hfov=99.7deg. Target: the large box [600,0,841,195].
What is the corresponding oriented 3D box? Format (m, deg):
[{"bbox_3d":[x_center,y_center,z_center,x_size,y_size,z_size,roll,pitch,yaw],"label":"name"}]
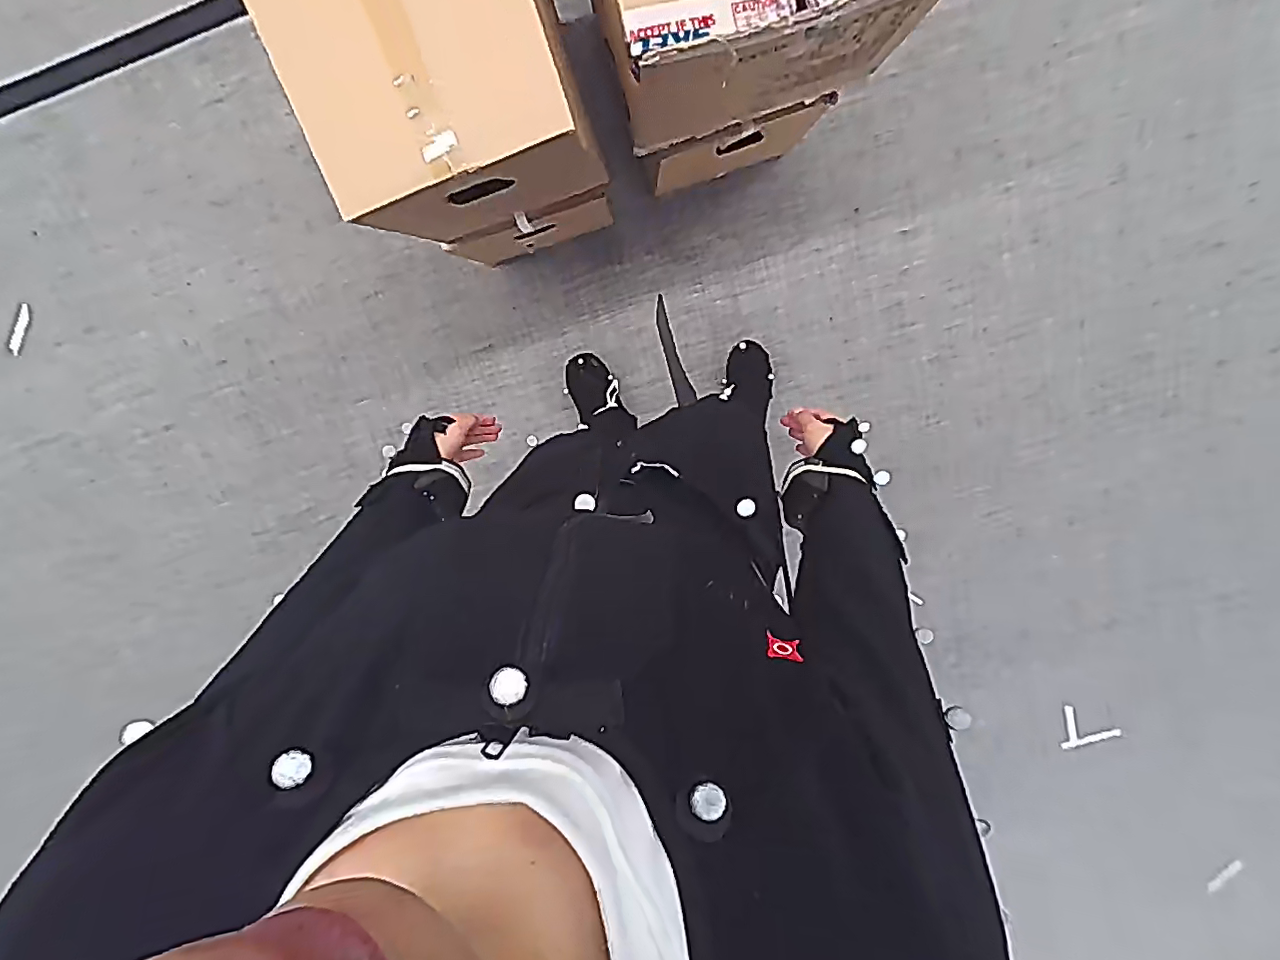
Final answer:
[{"bbox_3d":[0.125,-0.815,0.999,0.320,0.320,0.408,-17,107,5],"label":"large box"}]
